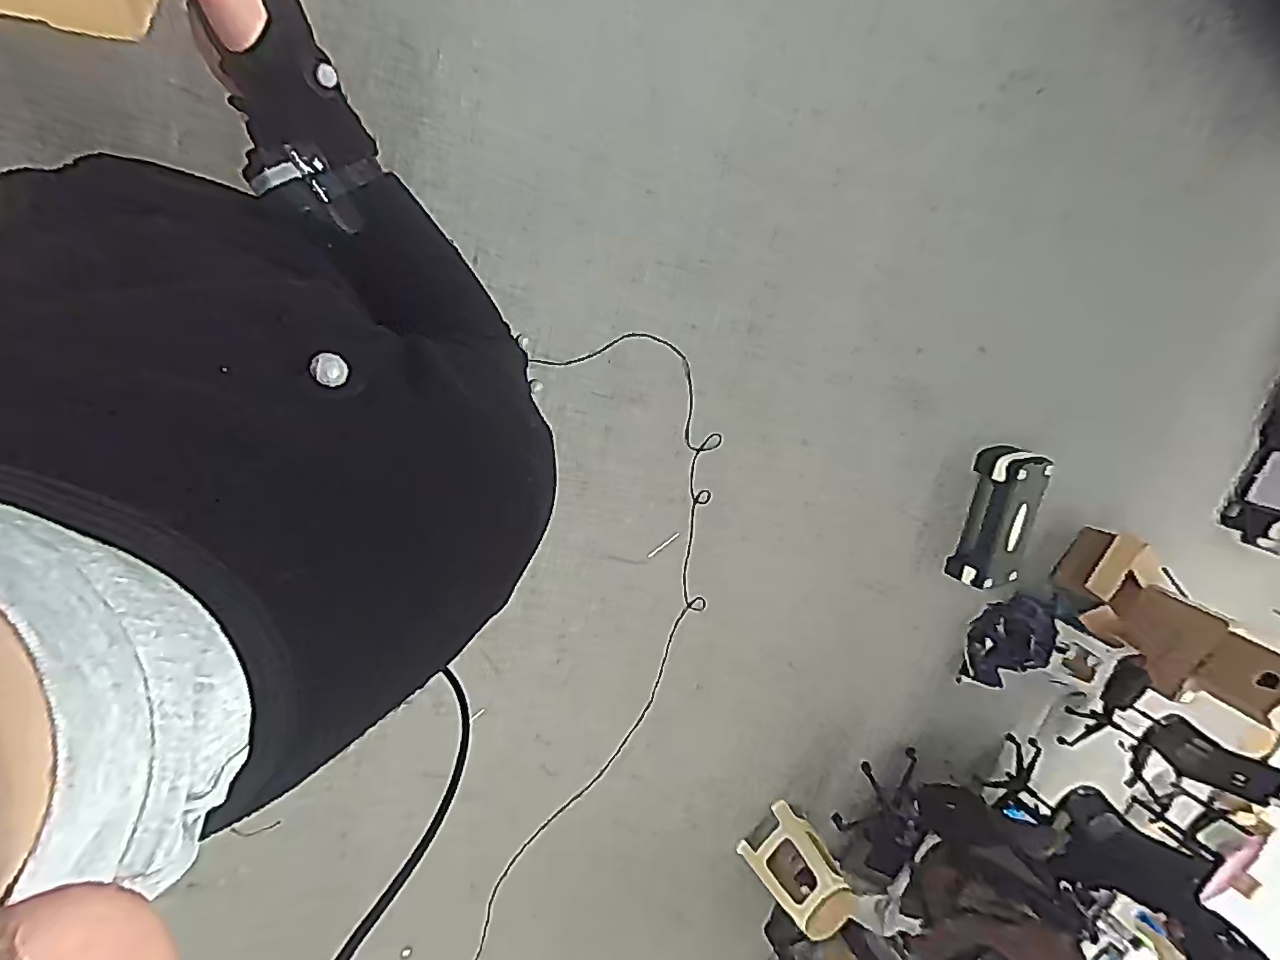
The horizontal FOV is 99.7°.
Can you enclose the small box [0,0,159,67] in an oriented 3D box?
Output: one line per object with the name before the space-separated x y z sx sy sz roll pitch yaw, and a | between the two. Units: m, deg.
small box | -0.304 -0.306 0.203 0.168 0.176 0.179 -7 146 -25
